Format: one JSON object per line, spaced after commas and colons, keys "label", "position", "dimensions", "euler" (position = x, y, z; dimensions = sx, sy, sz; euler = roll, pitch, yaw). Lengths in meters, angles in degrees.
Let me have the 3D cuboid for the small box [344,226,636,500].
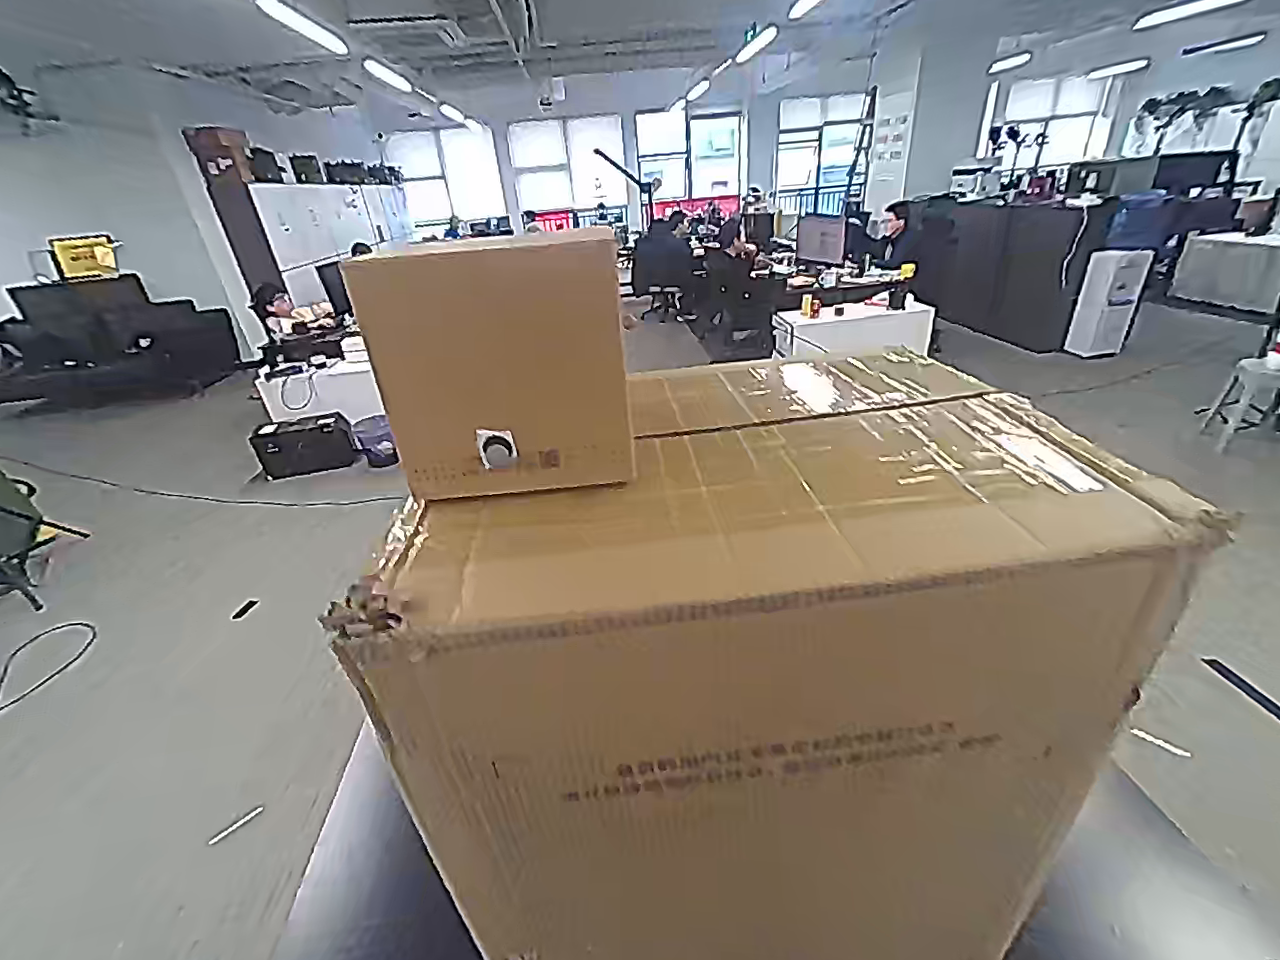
{"label": "small box", "position": [-0.095, -0.101, 0.430], "dimensions": [0.168, 0.176, 0.179], "euler": [-7, 28, -2]}
